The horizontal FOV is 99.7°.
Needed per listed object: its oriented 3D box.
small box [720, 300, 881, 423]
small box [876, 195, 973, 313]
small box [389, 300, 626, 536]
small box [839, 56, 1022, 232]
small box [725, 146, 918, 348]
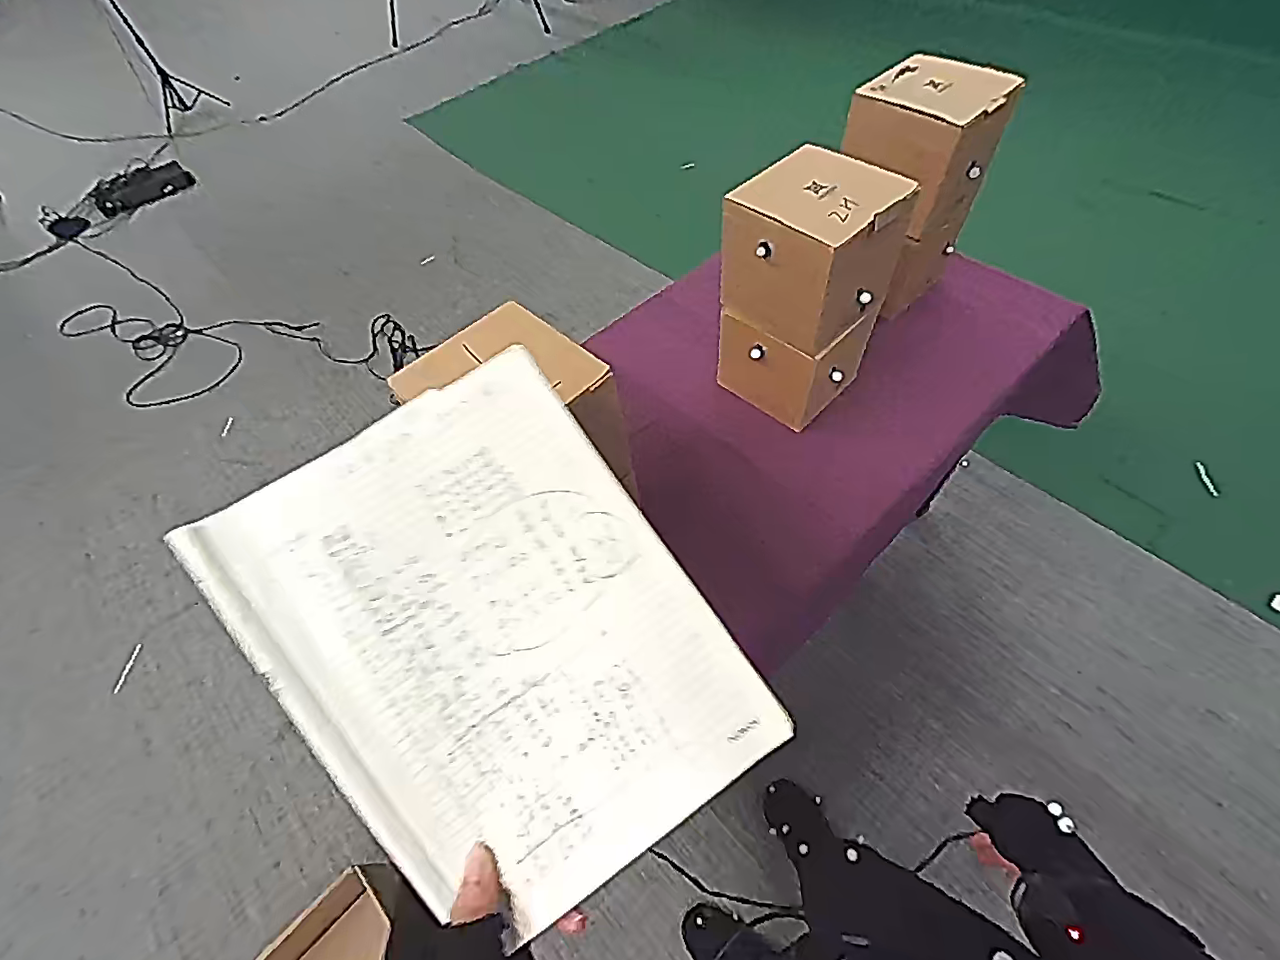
[{"bbox_3d":[0.246,-0.217,0.870,0.168,0.176,0.179,-41,62,-19],"label":"small box"},{"bbox_3d":[0.451,-0.433,0.988,0.168,0.176,0.179,-38,61,-18],"label":"small box"},{"bbox_3d":[-0.134,-0.060,0.606,0.168,0.176,0.179,-40,60,-19],"label":"small box"},{"bbox_3d":[0.434,-0.518,0.848,0.168,0.176,0.179,-38,62,-19],"label":"small box"},{"bbox_3d":[0.229,-0.312,0.736,0.168,0.176,0.179,-39,61,-17],"label":"small box"}]
